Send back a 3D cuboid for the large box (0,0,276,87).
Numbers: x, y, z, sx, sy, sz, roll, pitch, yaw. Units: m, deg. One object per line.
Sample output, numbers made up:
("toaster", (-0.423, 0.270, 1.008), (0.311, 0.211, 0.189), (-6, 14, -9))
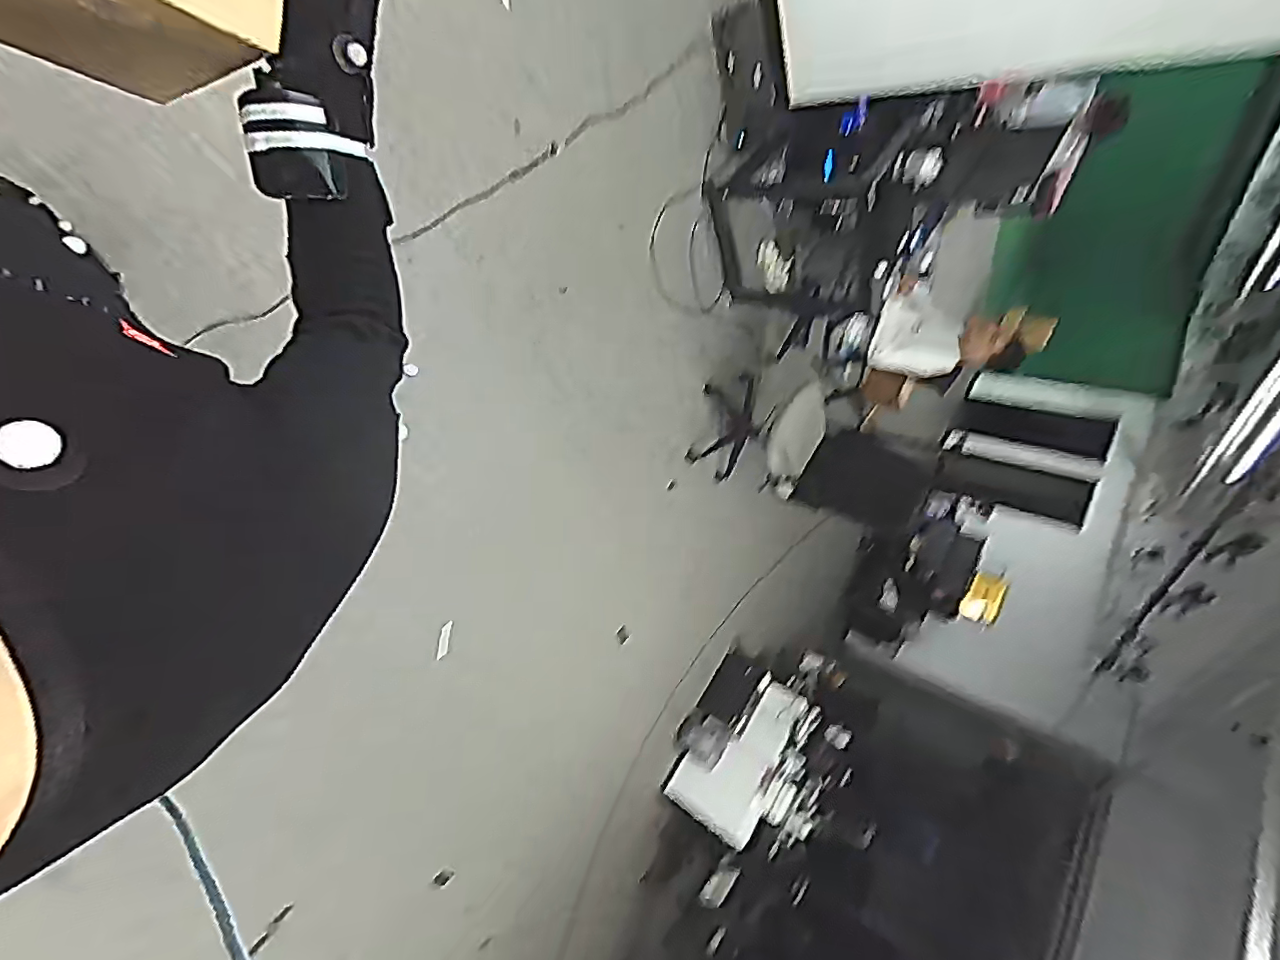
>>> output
("large box", (-0.456, -0.472, 0.260), (0.408, 0.320, 0.320), (-6, 112, -52))
